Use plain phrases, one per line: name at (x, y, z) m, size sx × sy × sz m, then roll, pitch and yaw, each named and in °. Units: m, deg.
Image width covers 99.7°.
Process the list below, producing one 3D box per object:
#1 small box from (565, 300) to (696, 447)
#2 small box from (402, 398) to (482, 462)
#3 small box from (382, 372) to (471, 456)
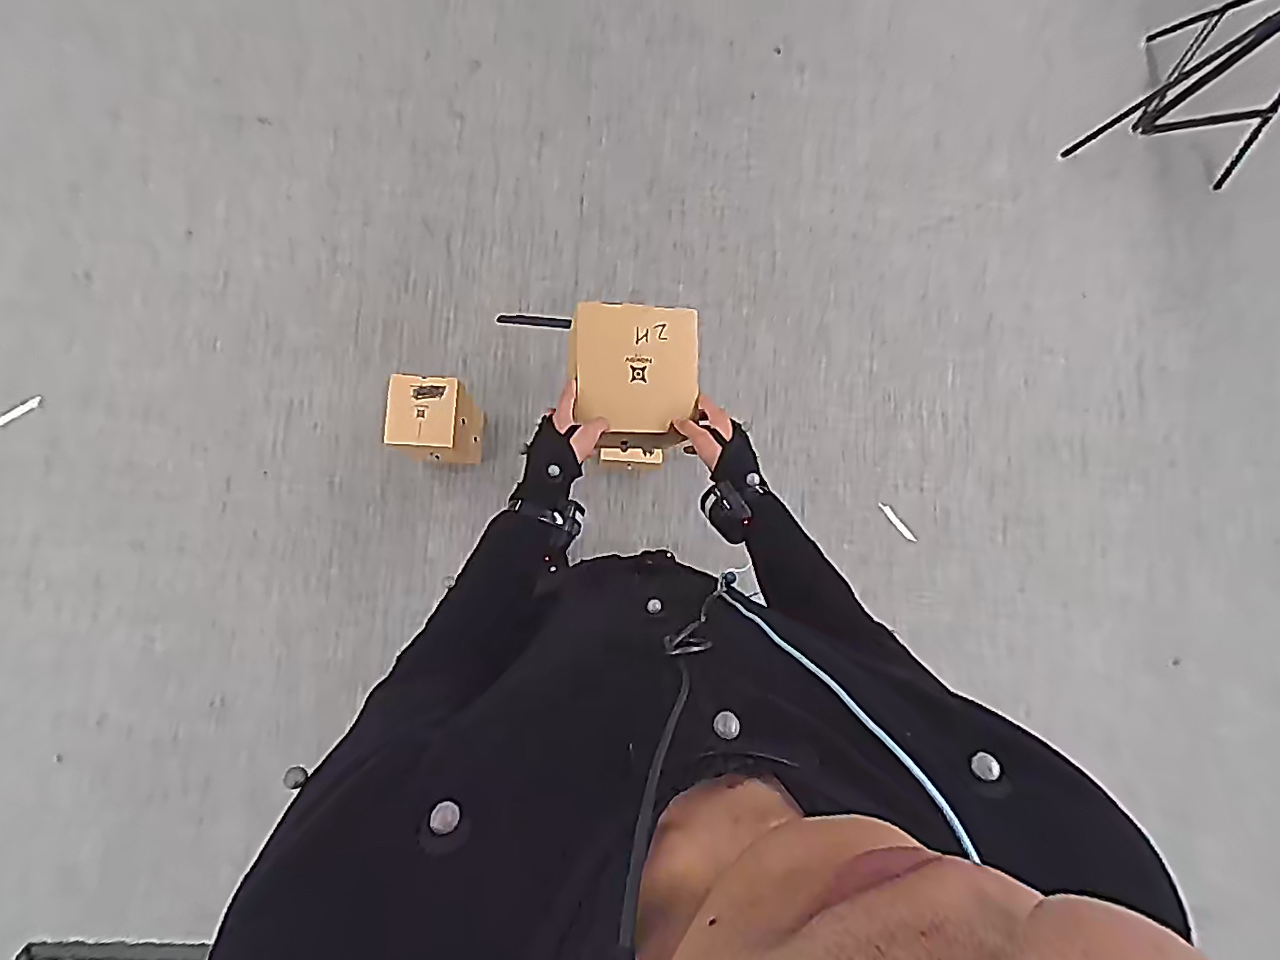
small box at (-0.021, -0.143, 0.793) m, size 0.168 × 0.176 × 0.179 m, roll 1°, pitch 86°, yaw -12°
small box at (-0.560, -0.145, 1.550) m, size 0.179 × 0.176 × 0.168 m, roll 3°, pitch 84°, yaw -4°
small box at (-0.540, -0.163, 1.388) m, size 0.168 × 0.176 × 0.179 m, roll 4°, pitch 85°, yaw -4°
